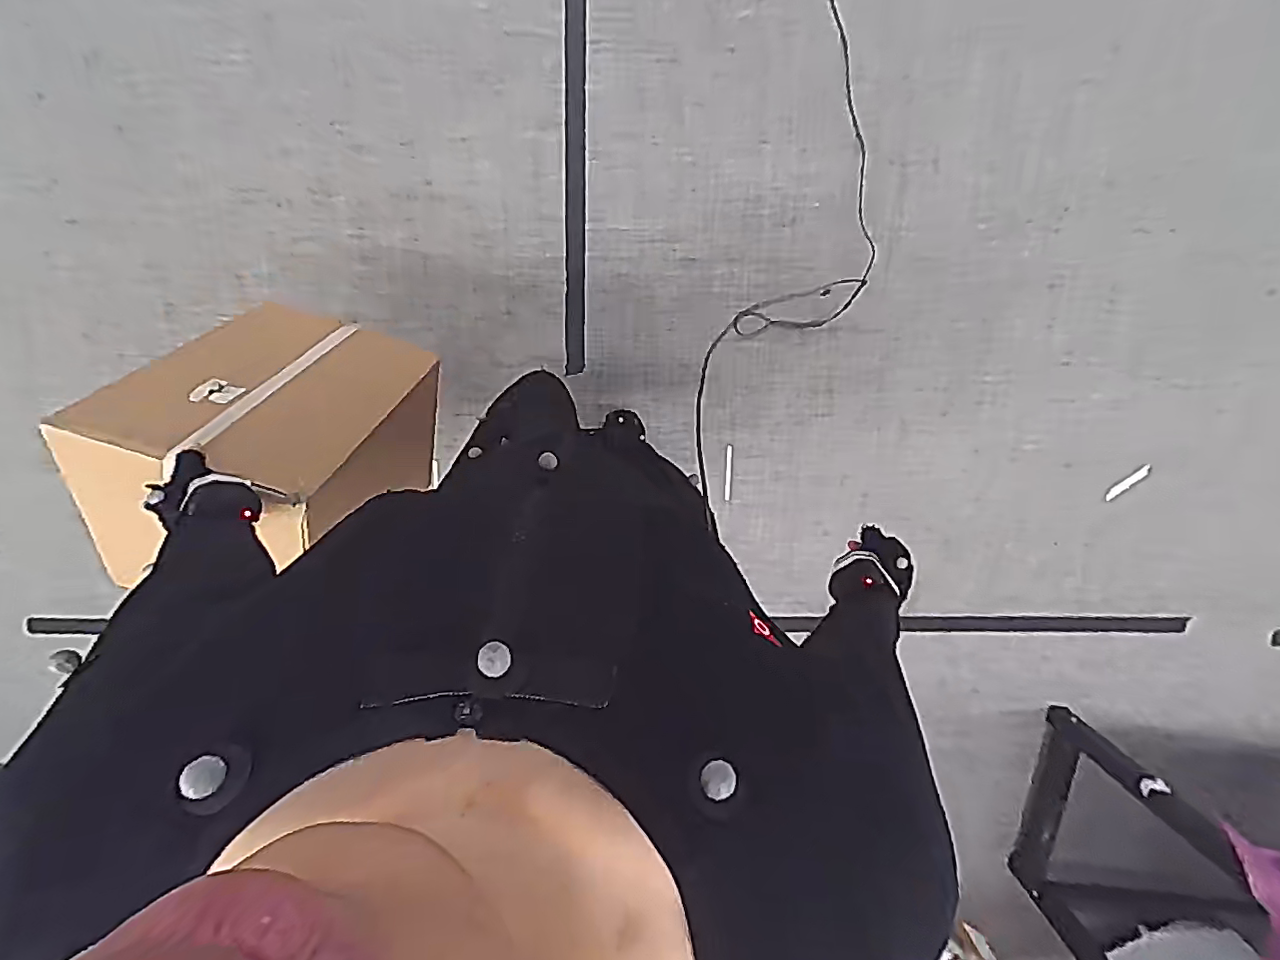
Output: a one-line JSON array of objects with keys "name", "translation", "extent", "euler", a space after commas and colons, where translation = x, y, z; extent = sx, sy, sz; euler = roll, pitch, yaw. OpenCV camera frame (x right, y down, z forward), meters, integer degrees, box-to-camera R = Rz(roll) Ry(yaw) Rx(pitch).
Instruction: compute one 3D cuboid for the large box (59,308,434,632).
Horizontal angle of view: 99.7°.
[{"name": "large box", "translation": [-0.579, -0.027, 0.909], "extent": [0.320, 0.408, 0.320], "euler": [17, 130, -4]}]
